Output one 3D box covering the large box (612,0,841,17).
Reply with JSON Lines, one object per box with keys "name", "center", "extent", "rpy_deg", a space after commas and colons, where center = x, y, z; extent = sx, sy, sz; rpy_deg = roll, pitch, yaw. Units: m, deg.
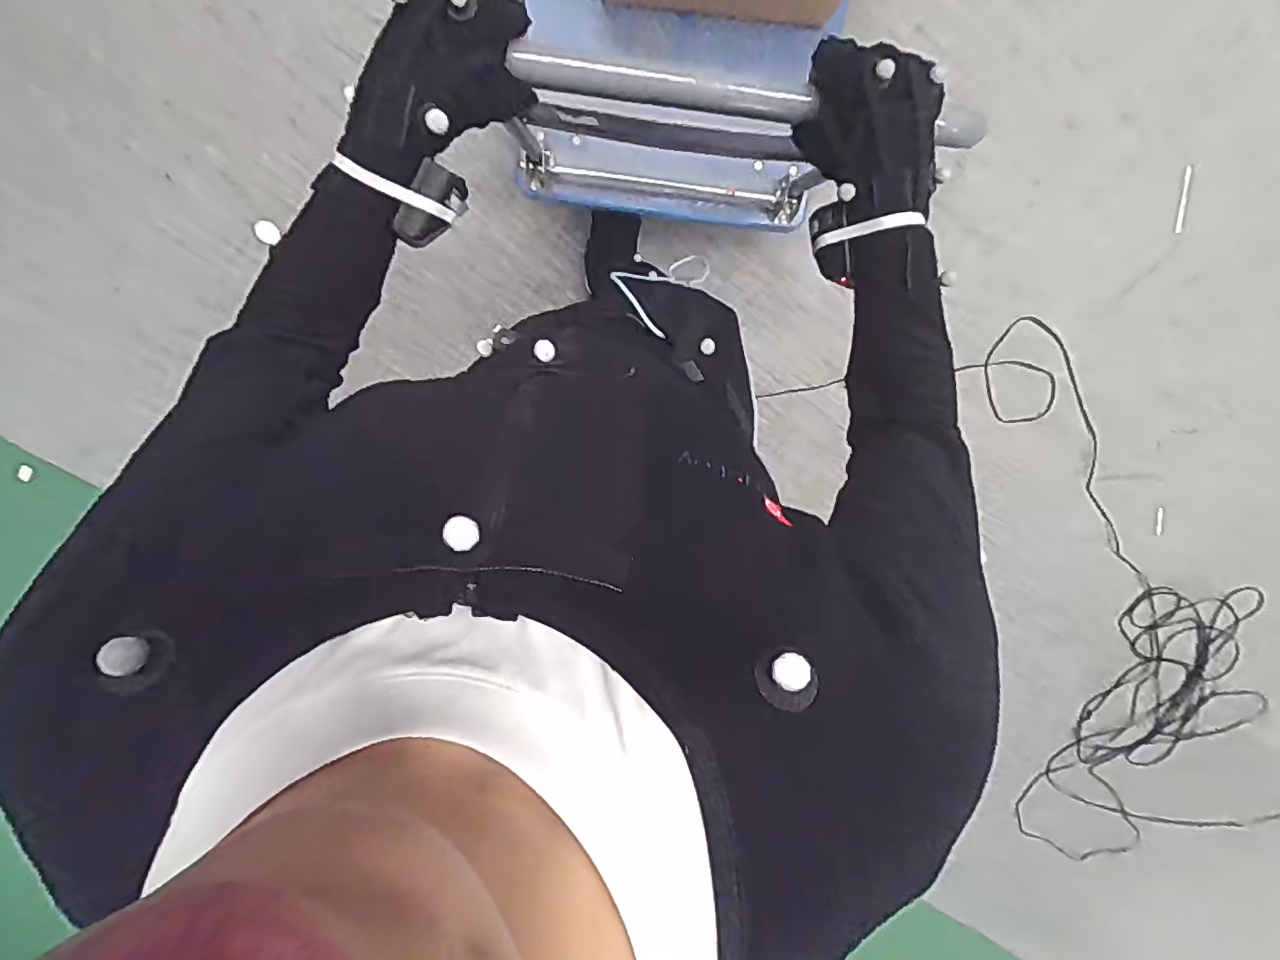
{"name": "large box", "center": [0.153, -0.934, 0.785], "extent": [0.408, 0.320, 0.320], "rpy_deg": [4, 109, -1]}
